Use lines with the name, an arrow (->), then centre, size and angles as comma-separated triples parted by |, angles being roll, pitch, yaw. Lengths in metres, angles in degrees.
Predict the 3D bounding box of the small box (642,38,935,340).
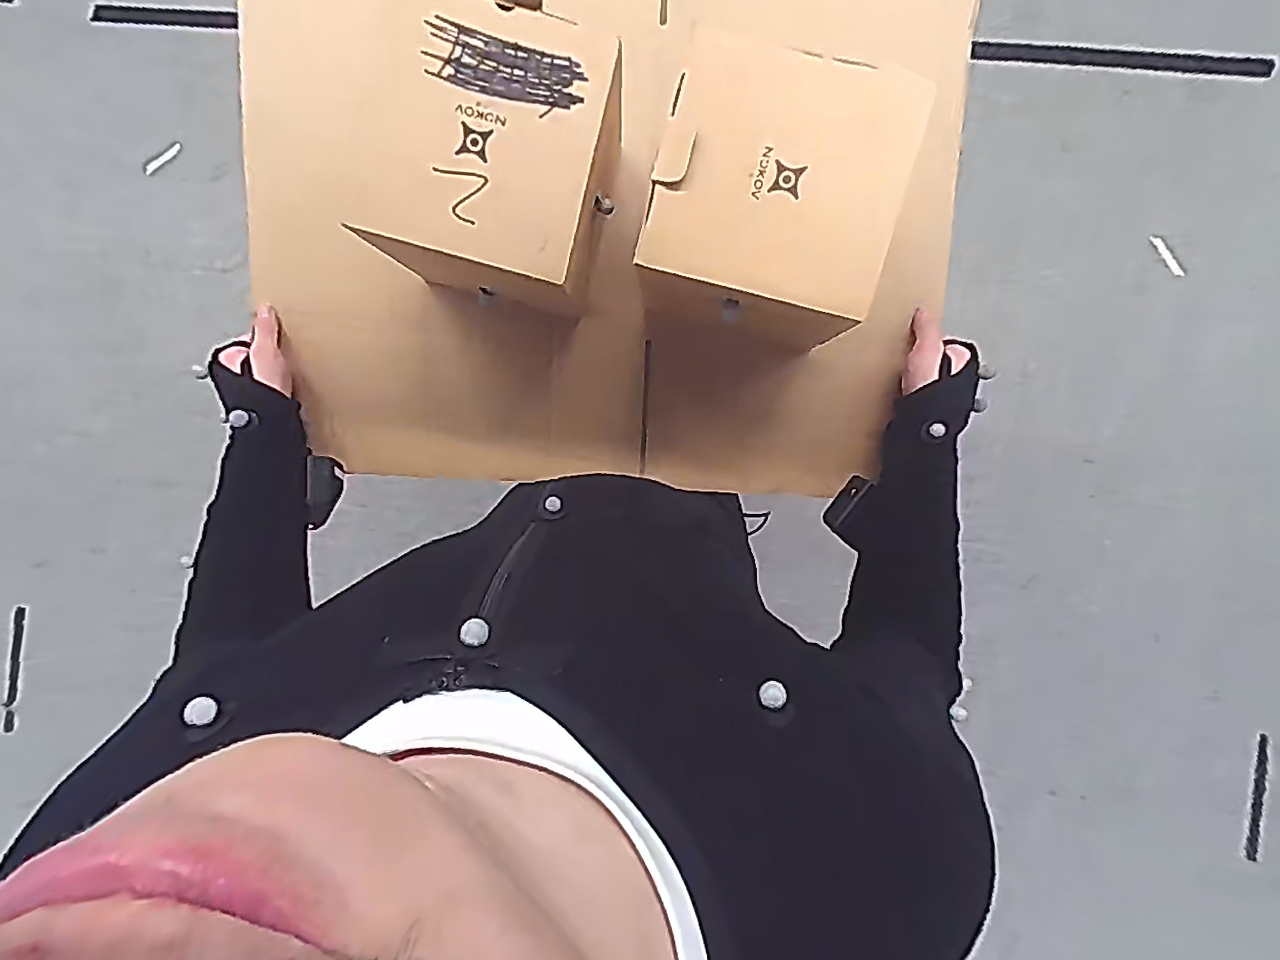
small box -> 0.112, -0.228, 0.474 | 0.179, 0.176, 0.168 | 15, 98, 4
